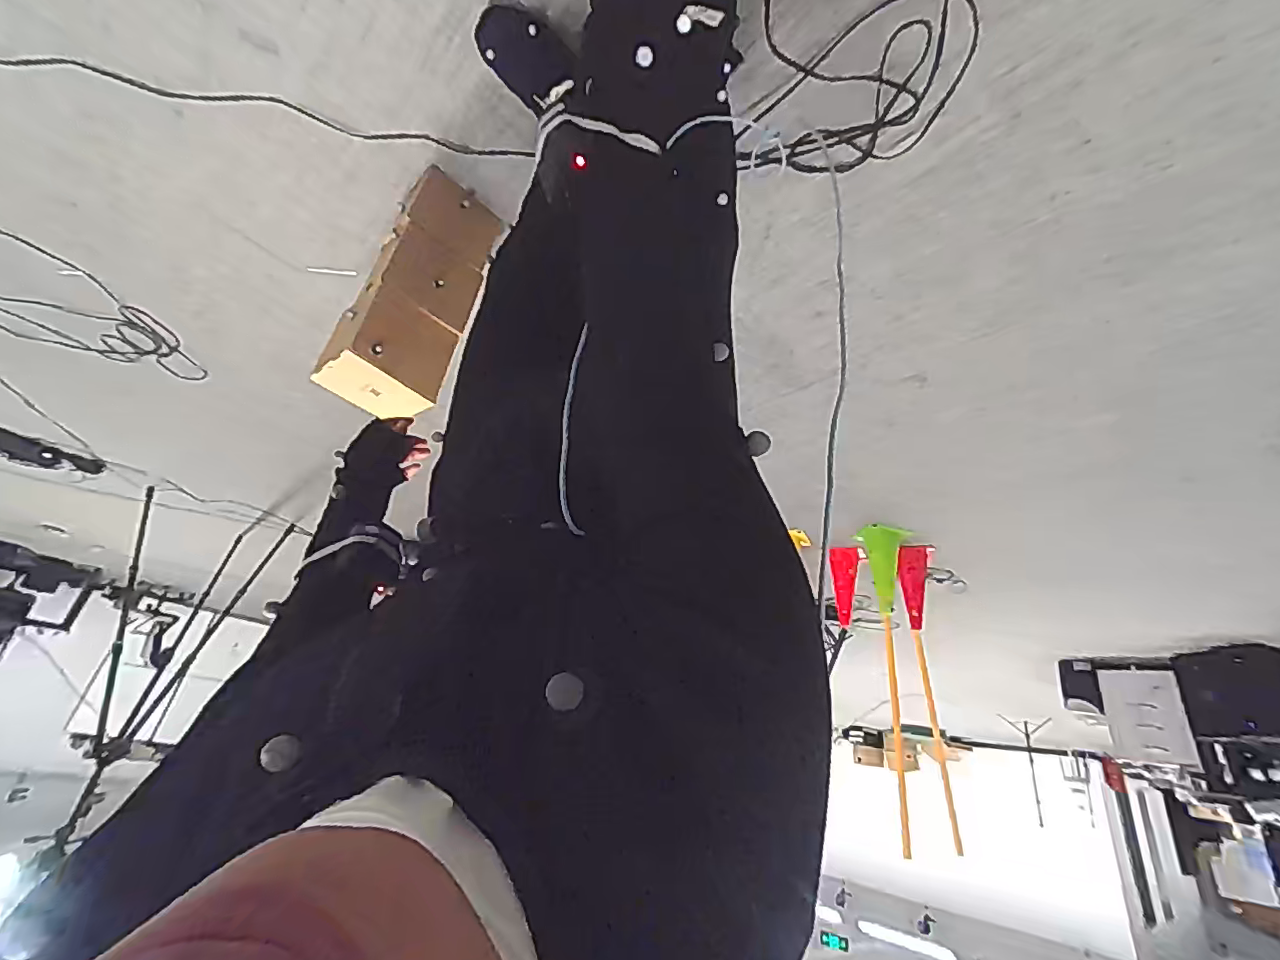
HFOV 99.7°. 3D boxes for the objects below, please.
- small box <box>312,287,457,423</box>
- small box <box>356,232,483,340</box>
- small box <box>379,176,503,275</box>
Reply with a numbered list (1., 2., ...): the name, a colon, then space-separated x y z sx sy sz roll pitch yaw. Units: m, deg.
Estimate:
1. small box: -0.492 -0.240 1.061 0.168 0.176 0.179 -13 145 37
2. small box: -0.461 -0.384 1.130 0.168 0.176 0.179 -16 144 41
3. small box: -0.436 -0.534 1.199 0.179 0.176 0.168 31 149 -34
